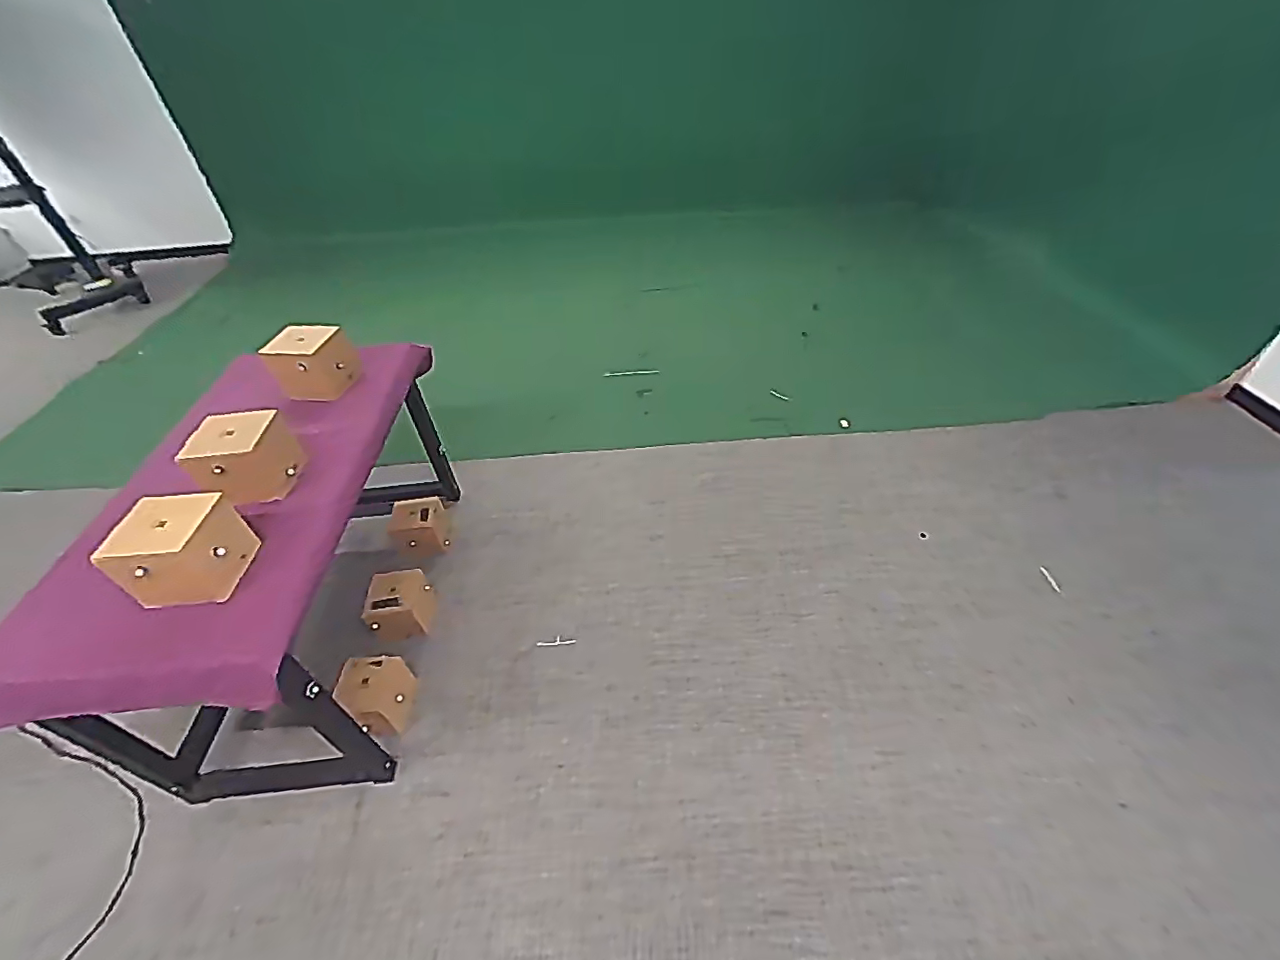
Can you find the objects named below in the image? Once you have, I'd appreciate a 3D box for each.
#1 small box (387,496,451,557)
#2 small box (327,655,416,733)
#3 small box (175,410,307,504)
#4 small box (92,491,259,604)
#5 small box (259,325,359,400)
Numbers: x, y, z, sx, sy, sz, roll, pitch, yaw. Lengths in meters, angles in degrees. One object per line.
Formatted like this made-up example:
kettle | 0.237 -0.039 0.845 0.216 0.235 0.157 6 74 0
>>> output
small box | -0.866 0.186 2.142 0.179 0.176 0.168 -8 43 -2
small box | -0.804 0.656 1.644 0.168 0.176 0.179 -3 44 2
small box | -0.985 -0.055 1.354 0.179 0.176 0.168 -6 44 -2
small box | -0.959 0.145 1.141 0.179 0.176 0.168 -5 43 1
small box | -1.014 -0.362 1.676 0.179 0.176 0.168 2 44 7
